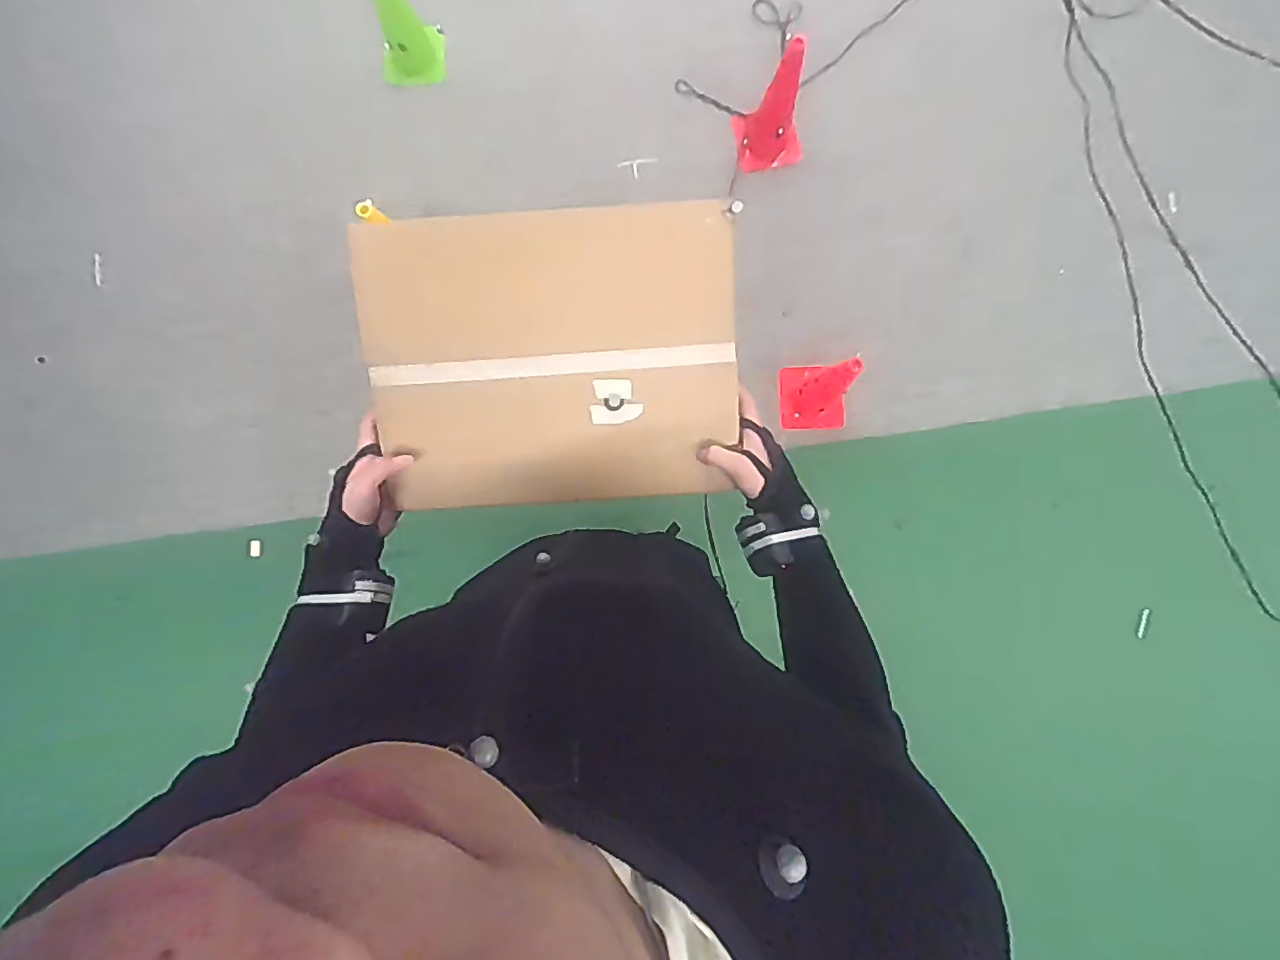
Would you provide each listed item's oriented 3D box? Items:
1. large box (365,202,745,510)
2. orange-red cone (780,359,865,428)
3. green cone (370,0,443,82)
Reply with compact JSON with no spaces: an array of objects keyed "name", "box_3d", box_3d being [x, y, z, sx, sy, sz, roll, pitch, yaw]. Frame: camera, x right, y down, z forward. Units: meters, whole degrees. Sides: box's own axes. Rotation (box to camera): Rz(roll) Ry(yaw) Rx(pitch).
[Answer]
[{"name":"large box","box_3d":[-0.089,-0.160,0.751,0.408,0.320,0.320,-4,103,0]},{"name":"orange-red cone","box_3d":[0.540,-0.272,1.515,0.199,0.360,0.198,-1,86,-2]},{"name":"green cone","box_3d":[-0.747,-1.414,1.601,0.200,0.368,0.202,-2,87,0]}]
